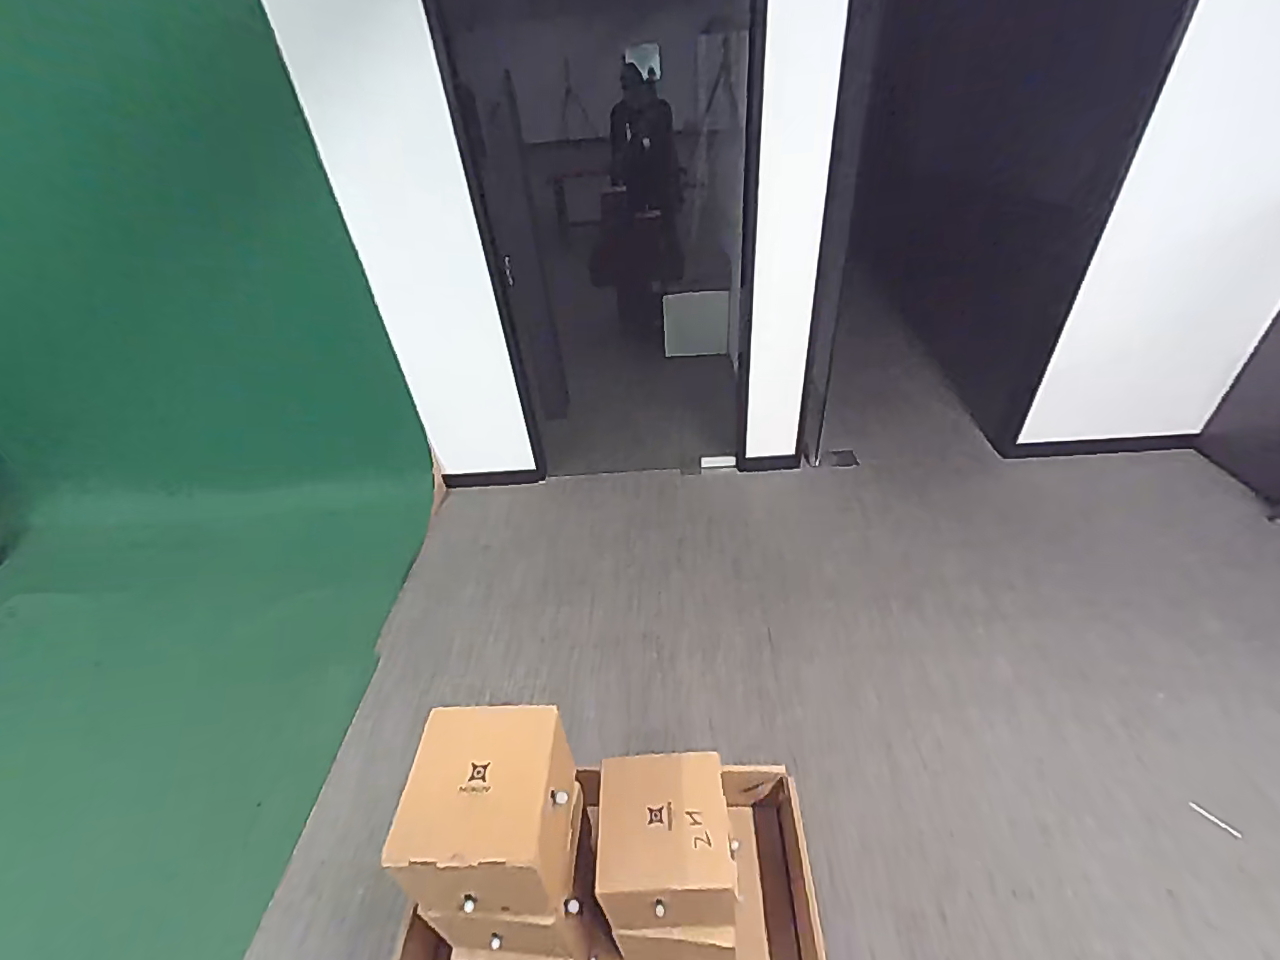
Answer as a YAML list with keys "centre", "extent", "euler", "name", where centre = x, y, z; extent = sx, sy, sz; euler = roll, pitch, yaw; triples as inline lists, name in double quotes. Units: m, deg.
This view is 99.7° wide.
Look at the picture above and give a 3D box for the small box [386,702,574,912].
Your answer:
- centre: [-0.179, 0.402, 0.672]
  extent: [0.168, 0.176, 0.179]
  euler: [-2, 38, 3]
  name: "small box"
